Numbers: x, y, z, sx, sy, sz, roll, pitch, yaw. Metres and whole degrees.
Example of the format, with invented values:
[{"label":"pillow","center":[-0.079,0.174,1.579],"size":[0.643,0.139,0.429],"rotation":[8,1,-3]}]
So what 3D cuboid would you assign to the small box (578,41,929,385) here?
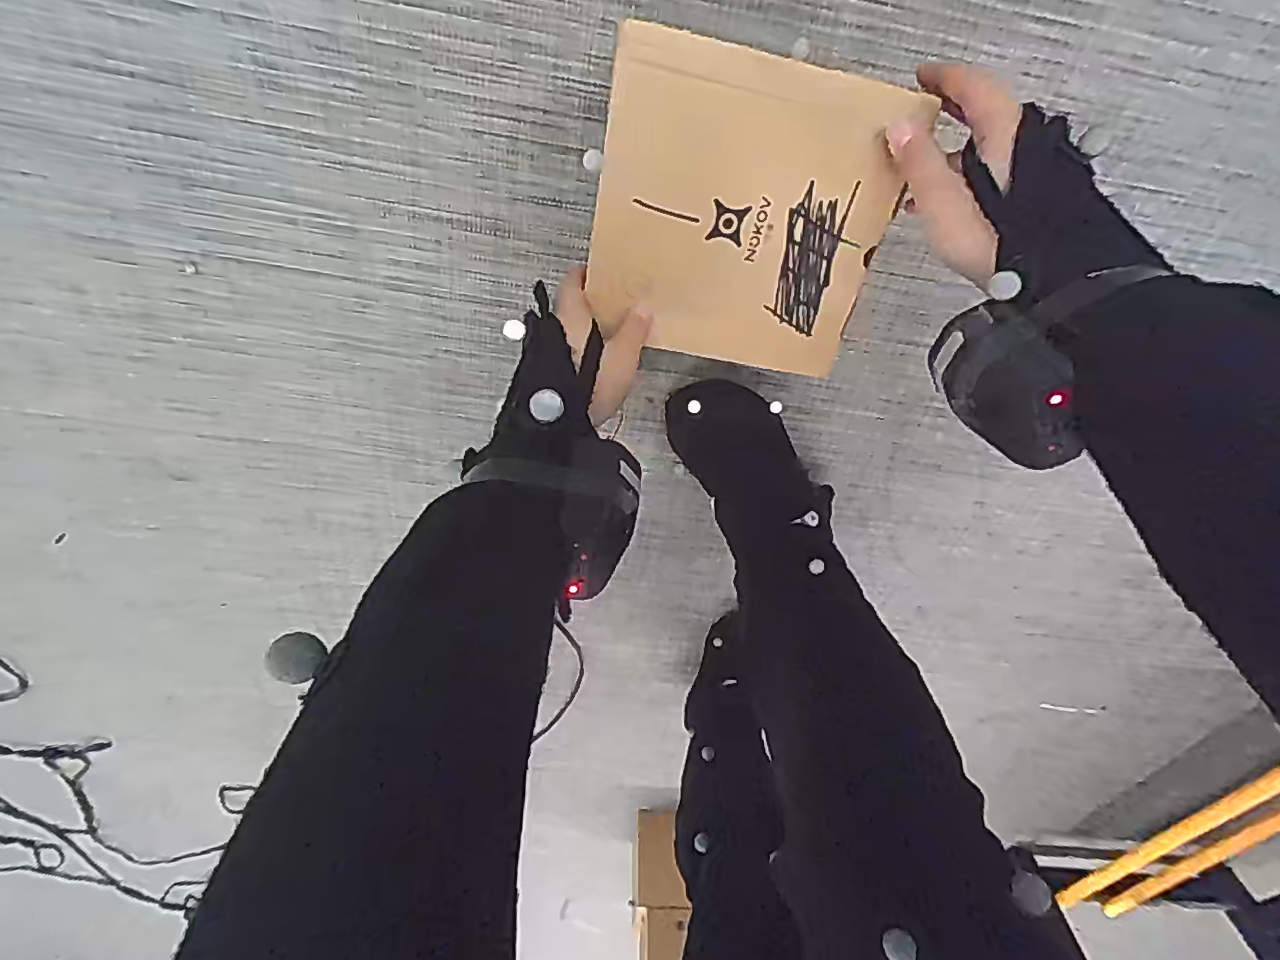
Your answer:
[{"label":"small box","center":[0.059,-0.192,0.395],"size":[0.179,0.176,0.168],"rotation":[10,124,-6]}]

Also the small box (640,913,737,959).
[{"label":"small box","center":[0.087,0.914,0.977],"size":[0.168,0.176,0.179],"rotation":[2,125,-3]}]

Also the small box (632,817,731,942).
[{"label":"small box","center":[0.076,0.814,1.106],"size":[0.179,0.176,0.168],"rotation":[3,125,-3]}]
